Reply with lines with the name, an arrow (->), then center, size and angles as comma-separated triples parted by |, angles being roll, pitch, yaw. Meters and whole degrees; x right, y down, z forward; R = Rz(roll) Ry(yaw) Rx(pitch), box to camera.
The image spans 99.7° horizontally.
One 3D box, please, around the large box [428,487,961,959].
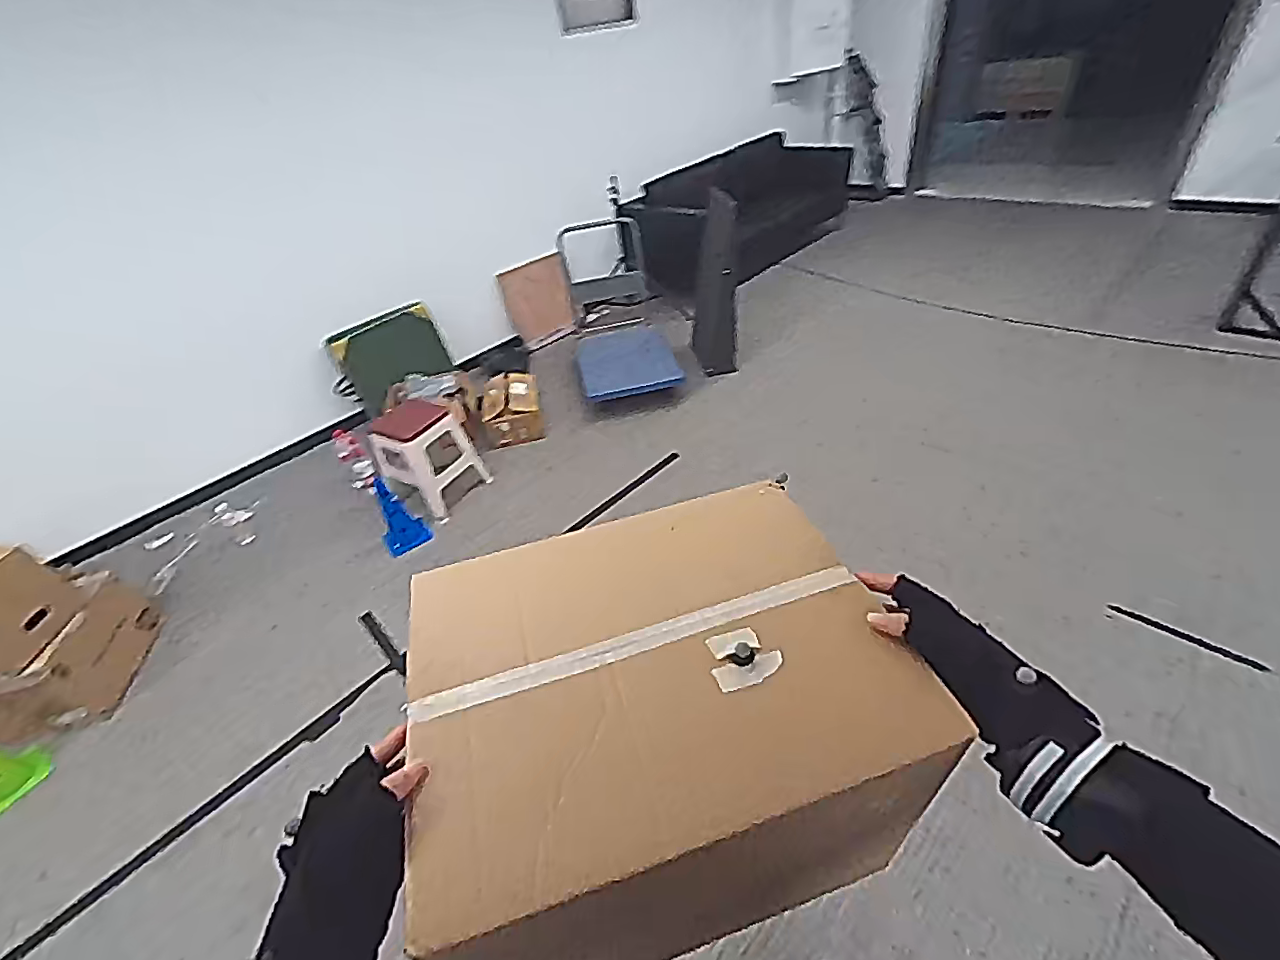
large box -> 0.025, 0.261, 0.576 | 0.408, 0.320, 0.320 | -14, 41, -11
